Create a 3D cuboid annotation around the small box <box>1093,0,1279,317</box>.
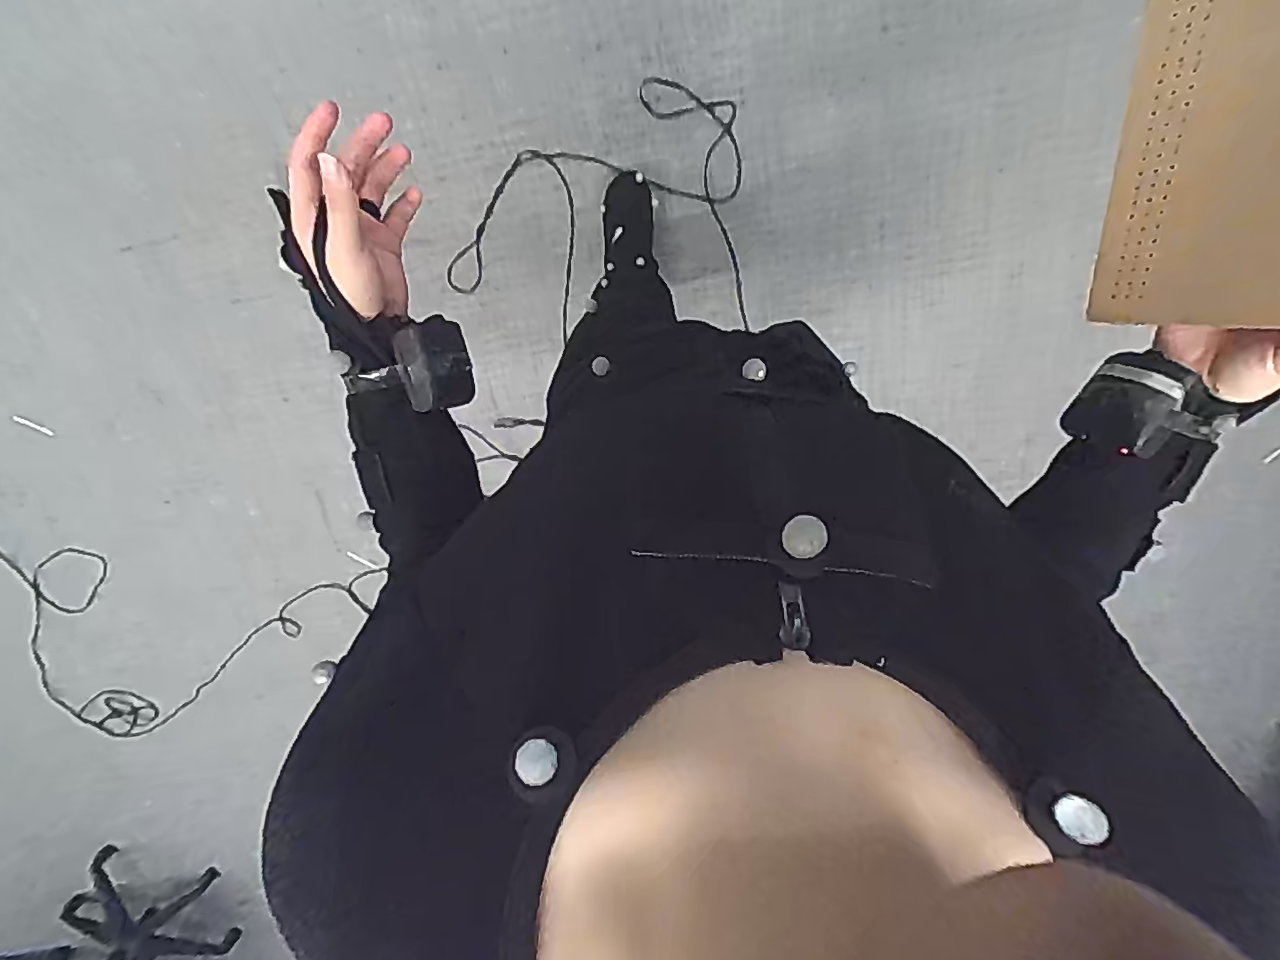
[{"bbox_3d":[0.335,-0.163,0.216,0.168,0.176,0.179,-9,109,-10],"label":"small box"}]
